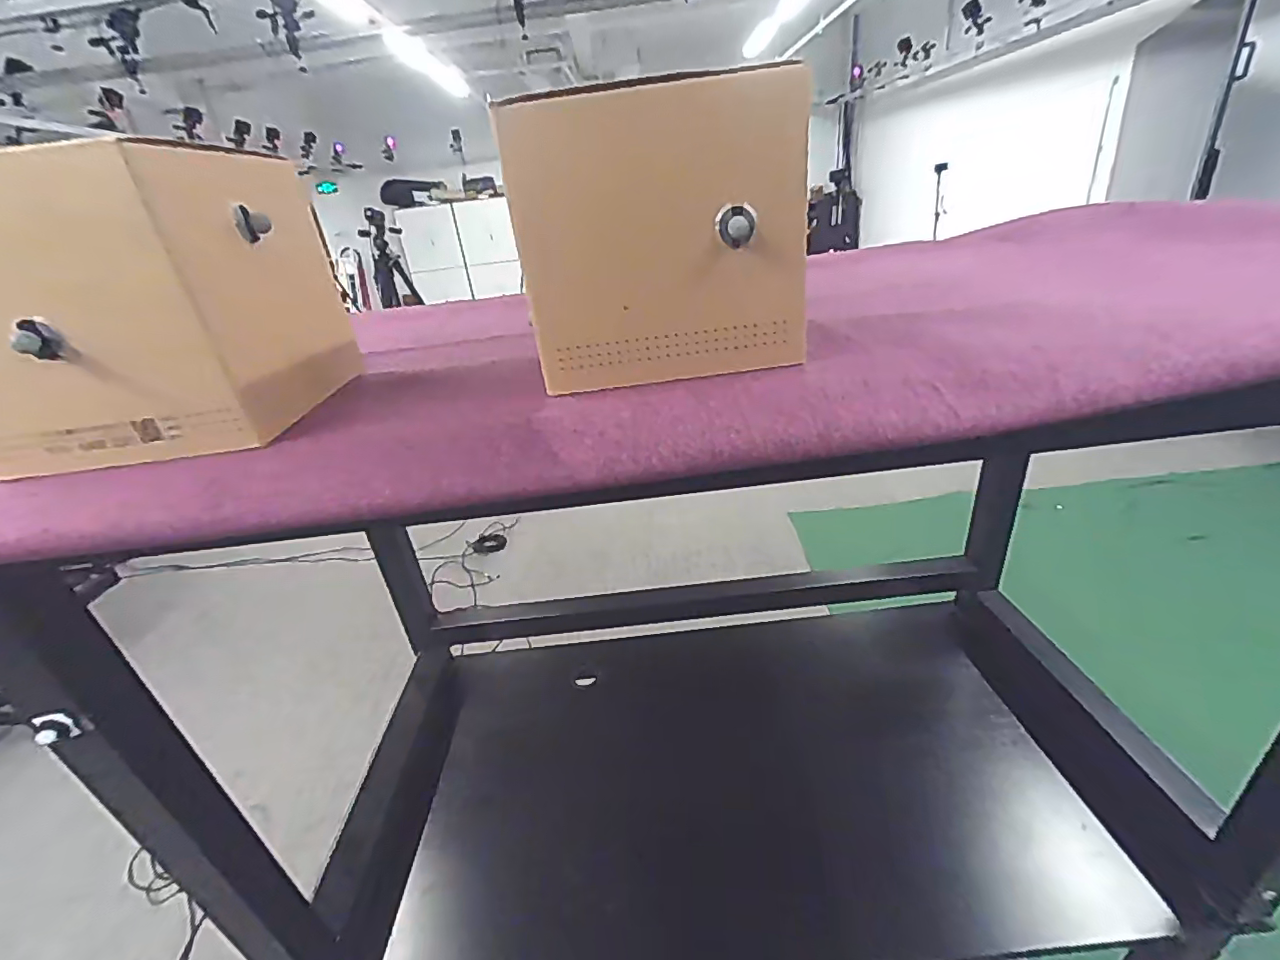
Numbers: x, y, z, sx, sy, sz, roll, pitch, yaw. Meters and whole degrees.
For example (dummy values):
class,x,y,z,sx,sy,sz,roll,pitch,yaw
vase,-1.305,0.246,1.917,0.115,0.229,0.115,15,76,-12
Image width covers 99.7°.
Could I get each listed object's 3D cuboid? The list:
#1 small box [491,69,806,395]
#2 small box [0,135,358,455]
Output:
class,x,y,z,sx,sy,sz,roll,pitch,yaw
small box,0.010,-0.174,0.399,0.179,0.176,0.168,-8,26,1
small box,-0.328,-0.123,0.375,0.168,0.176,0.179,-7,27,-1
